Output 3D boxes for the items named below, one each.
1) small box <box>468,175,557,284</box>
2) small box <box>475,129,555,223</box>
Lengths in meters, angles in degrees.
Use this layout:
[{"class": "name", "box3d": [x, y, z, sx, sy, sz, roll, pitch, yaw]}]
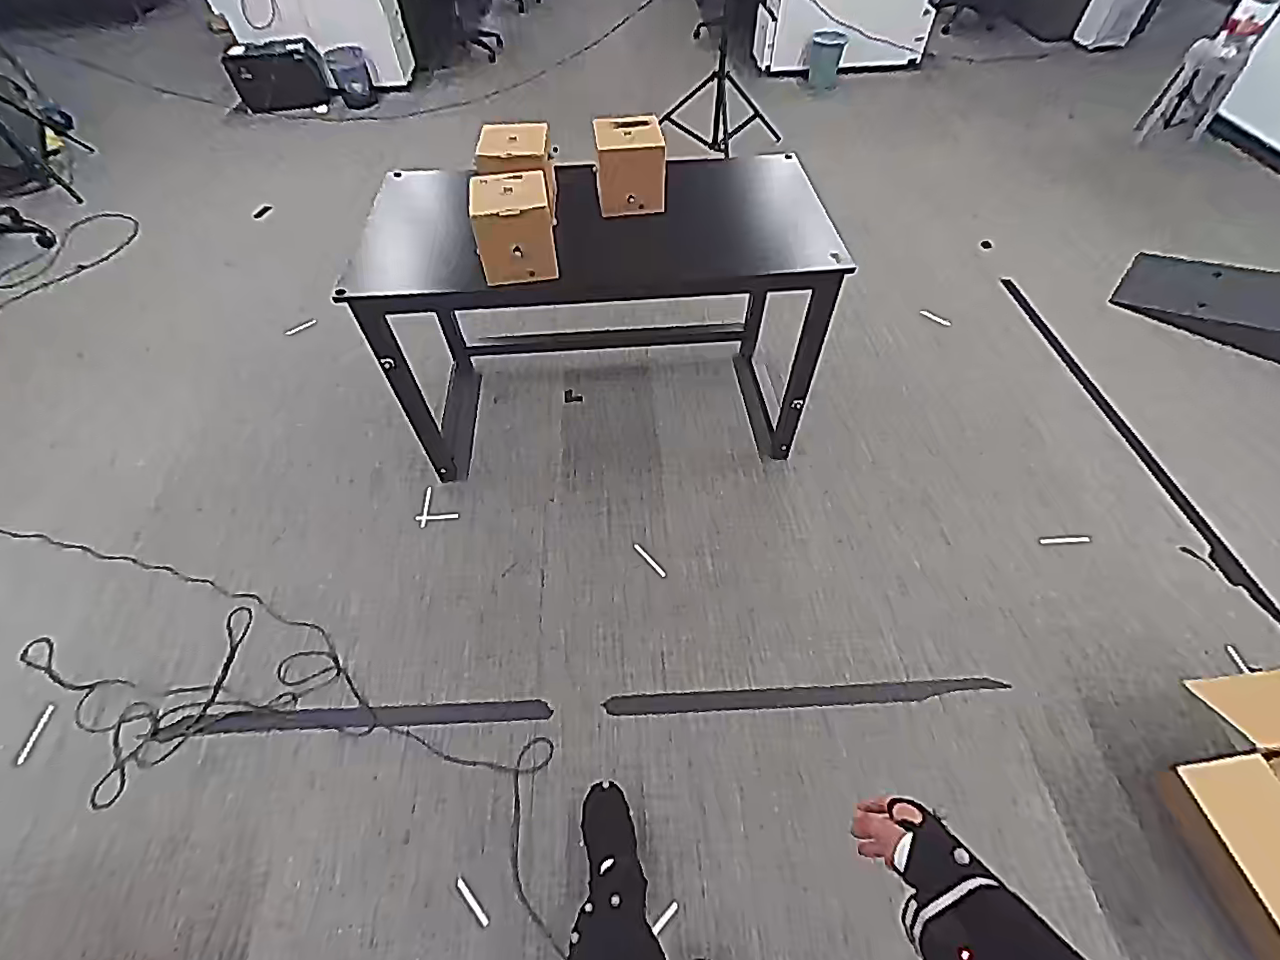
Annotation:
[{"class": "small box", "box3d": [-0.288, -0.567, 1.241, 0.168, 0.176, 0.179, -9, 54, -5]}, {"class": "small box", "box3d": [-0.316, -0.783, 1.403, 0.168, 0.176, 0.179, -3, 54, -1]}]
